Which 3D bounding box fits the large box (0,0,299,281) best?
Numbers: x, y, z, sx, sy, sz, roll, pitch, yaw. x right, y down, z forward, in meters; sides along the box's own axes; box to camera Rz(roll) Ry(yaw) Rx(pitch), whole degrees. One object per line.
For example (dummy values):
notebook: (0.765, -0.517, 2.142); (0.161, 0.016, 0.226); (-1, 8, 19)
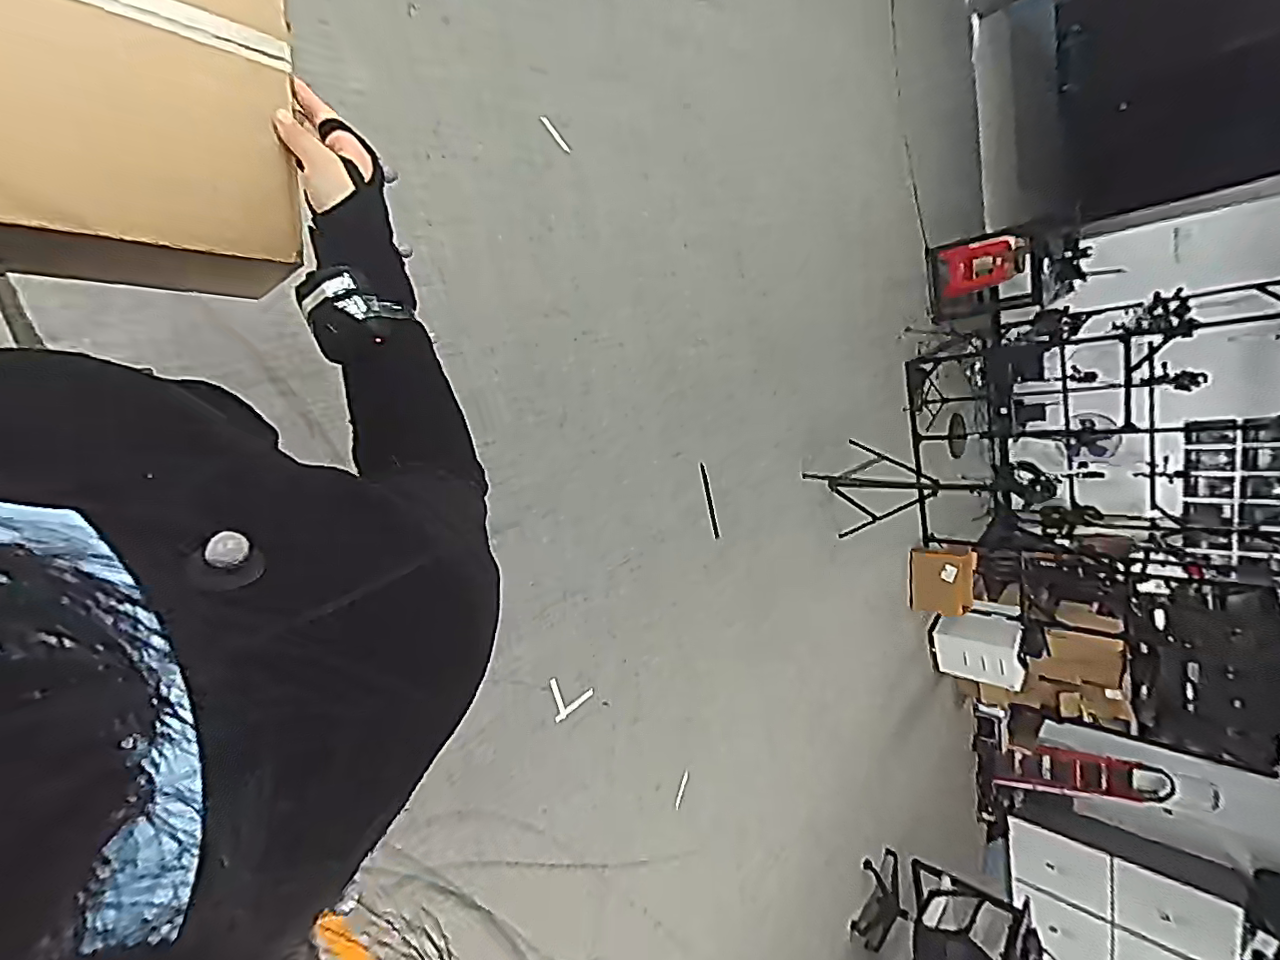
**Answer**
large box: (-0.542, -0.353, 0.429); (0.408, 0.320, 0.320); (-8, 103, -40)
